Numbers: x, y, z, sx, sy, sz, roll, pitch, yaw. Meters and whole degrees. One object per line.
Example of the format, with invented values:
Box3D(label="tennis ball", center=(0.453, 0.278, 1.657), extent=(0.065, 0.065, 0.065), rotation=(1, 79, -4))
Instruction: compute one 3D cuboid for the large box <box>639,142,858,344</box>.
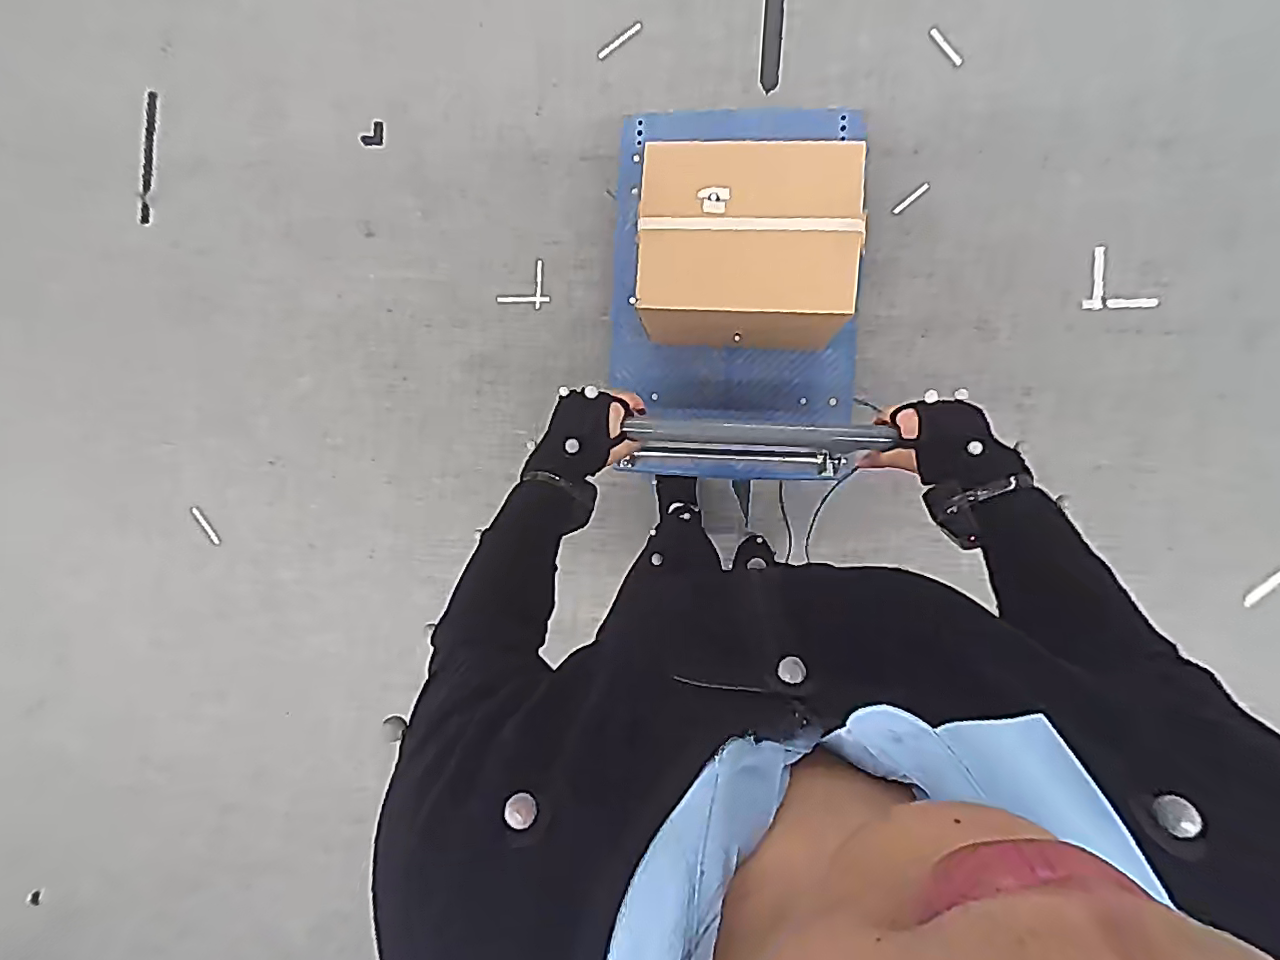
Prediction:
Box3D(label="large box", center=(0.220, -0.480, 1.168), extent=(0.408, 0.320, 0.320), rotation=(3, 90, 7))
